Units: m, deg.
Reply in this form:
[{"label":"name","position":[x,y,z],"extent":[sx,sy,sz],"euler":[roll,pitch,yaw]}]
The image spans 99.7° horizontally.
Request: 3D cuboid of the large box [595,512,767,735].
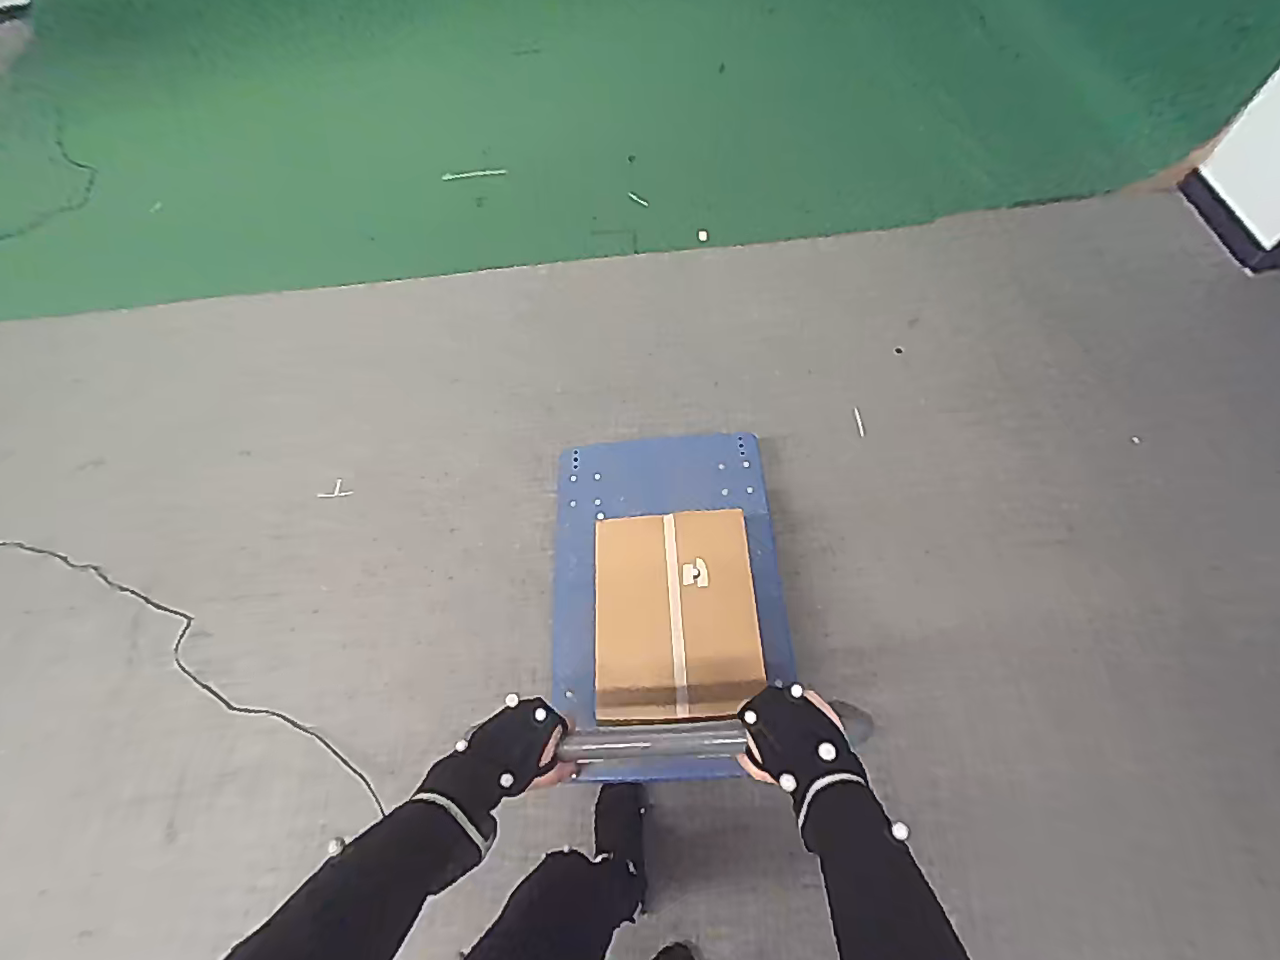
[{"label":"large box","position":[0.080,0.324,1.188],"extent":[0.320,0.320,0.408],"euler":[-4,61,3]}]
